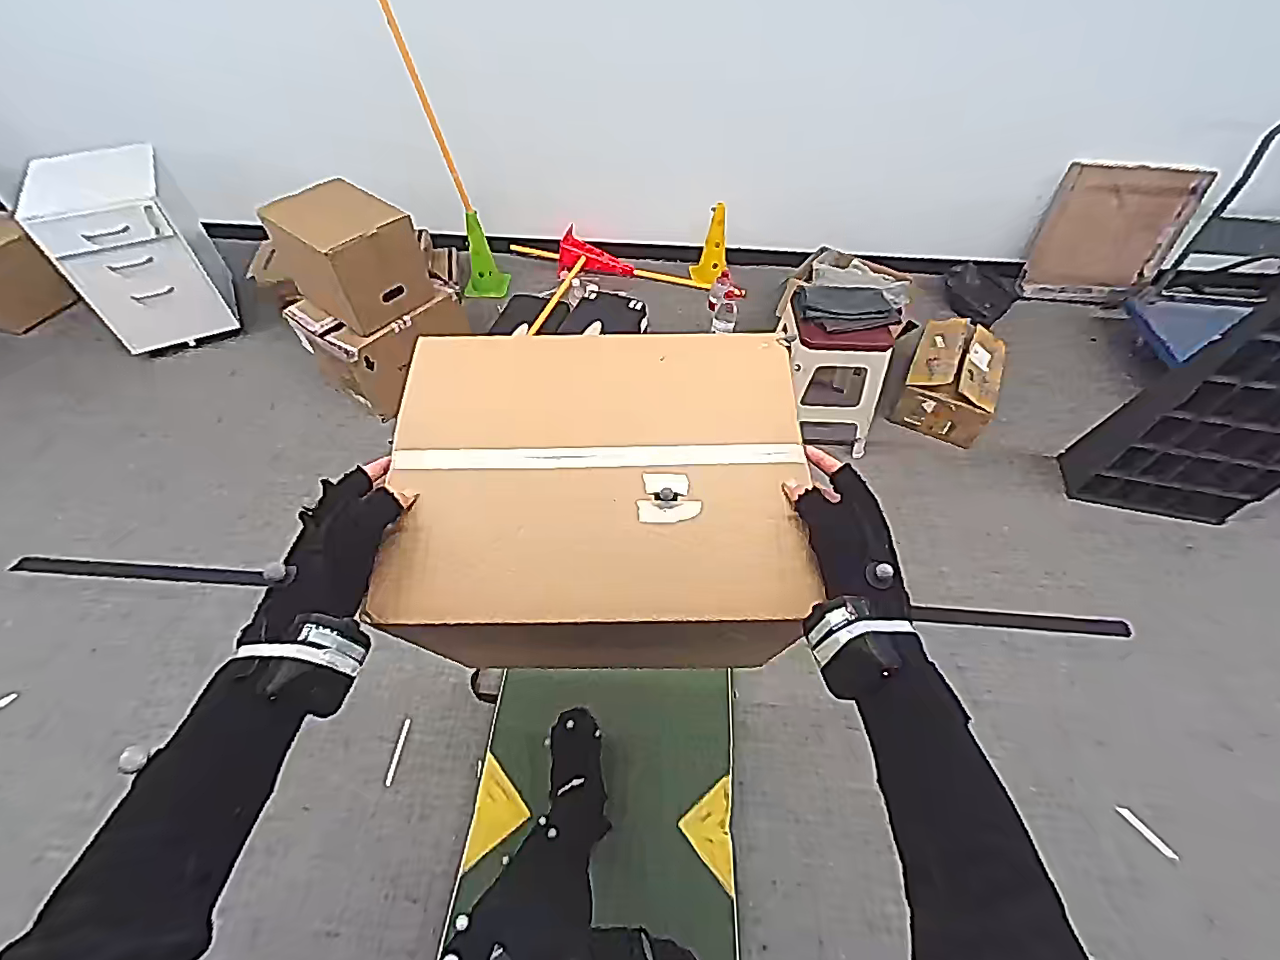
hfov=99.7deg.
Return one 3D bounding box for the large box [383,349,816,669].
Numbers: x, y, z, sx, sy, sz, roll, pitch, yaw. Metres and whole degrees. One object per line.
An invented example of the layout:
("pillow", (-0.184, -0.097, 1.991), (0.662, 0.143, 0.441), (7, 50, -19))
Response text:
("large box", (-0.041, 0.054, 0.688), (0.408, 0.320, 0.320), (0, 64, -1))
